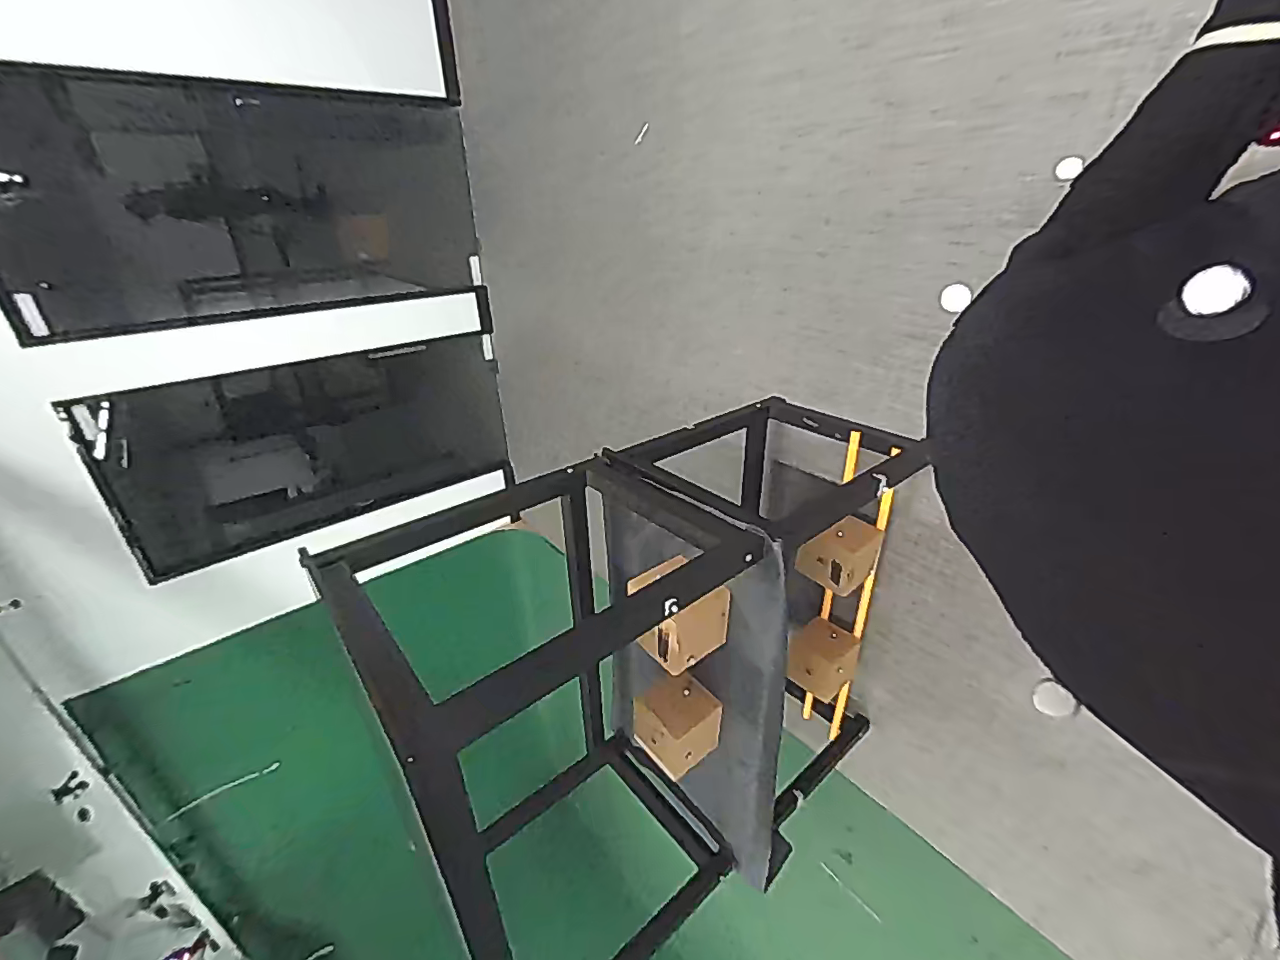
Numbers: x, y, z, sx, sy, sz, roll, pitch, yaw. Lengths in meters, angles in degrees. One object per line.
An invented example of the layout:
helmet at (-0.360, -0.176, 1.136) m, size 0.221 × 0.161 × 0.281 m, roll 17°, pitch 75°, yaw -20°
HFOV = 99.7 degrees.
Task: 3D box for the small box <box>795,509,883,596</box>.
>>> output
small box at (0.599, 0.209, 1.628) m, size 0.179 × 0.176 × 0.168 m, roll 31°, pitch 131°, yaw 41°

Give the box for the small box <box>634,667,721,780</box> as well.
small box at (0.099, 0.643, 1.444) m, size 0.168 × 0.176 × 0.179 m, roll 31°, pitch 131°, yaw 41°
